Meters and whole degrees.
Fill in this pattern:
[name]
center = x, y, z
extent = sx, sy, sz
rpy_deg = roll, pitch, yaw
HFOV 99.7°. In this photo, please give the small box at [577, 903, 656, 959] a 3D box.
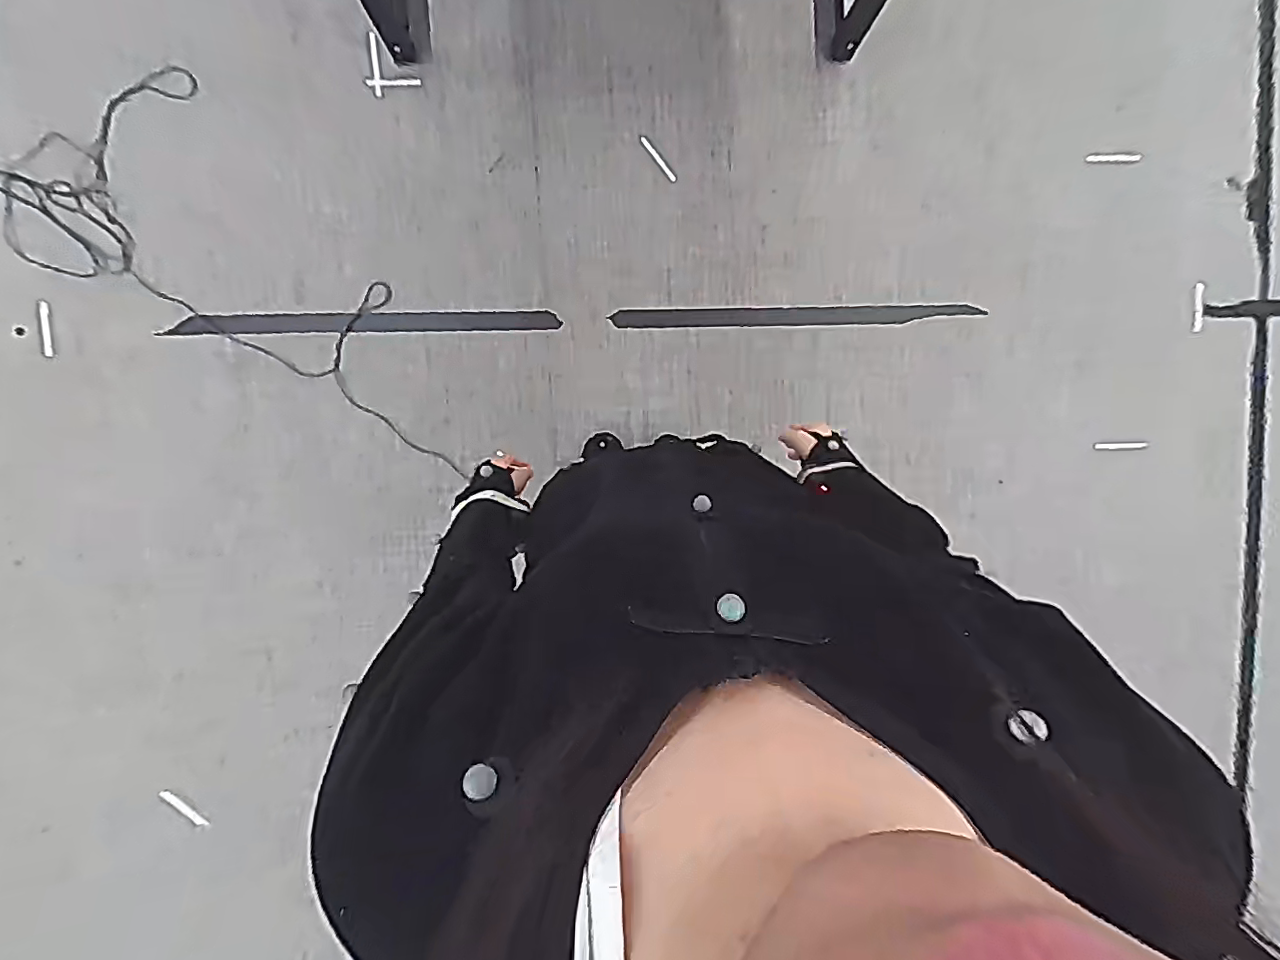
[small box]
center = -0.049, 1.111, 1.231
extent = 0.179, 0.176, 0.168
rpy_deg = -6, 95, -2
